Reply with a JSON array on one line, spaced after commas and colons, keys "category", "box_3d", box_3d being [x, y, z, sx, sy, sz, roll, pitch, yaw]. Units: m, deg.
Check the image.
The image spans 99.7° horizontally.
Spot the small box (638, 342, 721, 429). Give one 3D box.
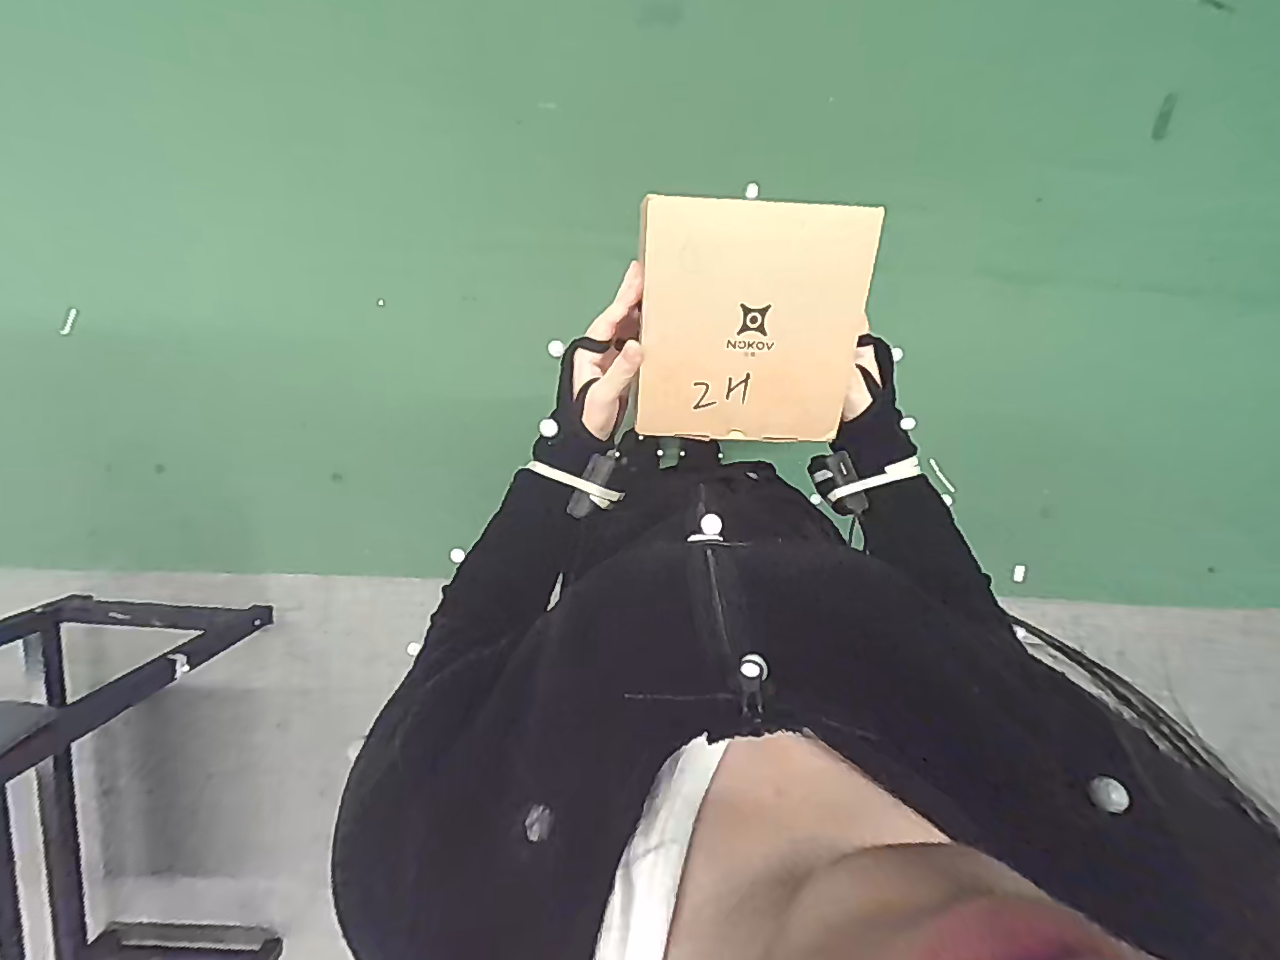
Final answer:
[{"category": "small box", "box_3d": [0.082, -0.207, 1.215, 0.168, 0.176, 0.179, 1, 98, -2]}]
